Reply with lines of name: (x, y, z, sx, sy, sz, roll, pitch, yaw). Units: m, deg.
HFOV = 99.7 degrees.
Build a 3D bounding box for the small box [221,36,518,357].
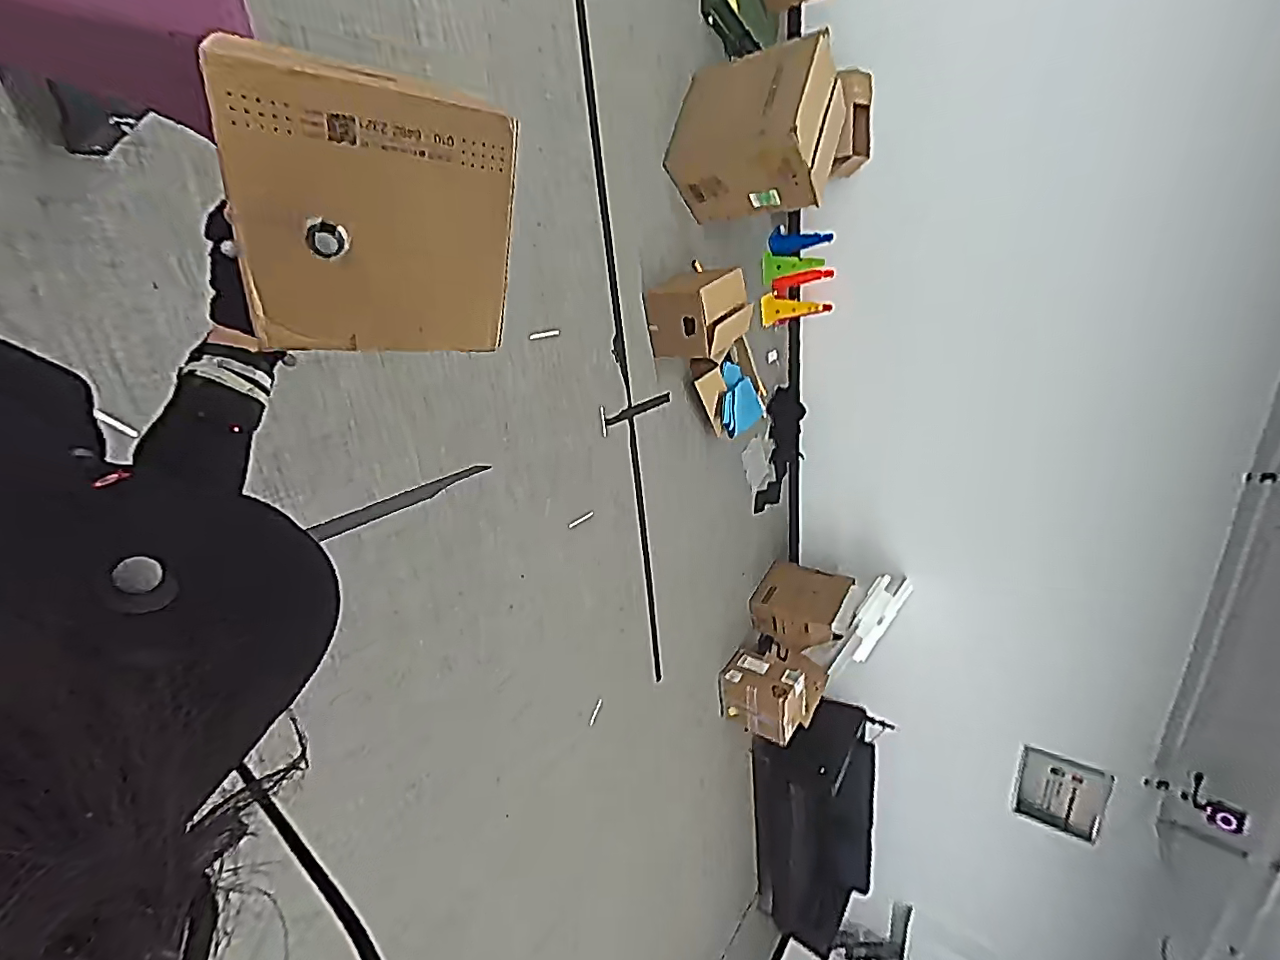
small box: (-0.198, -0.207, 0.407, 0.168, 0.179, 0.176, -6, 130, -31)
